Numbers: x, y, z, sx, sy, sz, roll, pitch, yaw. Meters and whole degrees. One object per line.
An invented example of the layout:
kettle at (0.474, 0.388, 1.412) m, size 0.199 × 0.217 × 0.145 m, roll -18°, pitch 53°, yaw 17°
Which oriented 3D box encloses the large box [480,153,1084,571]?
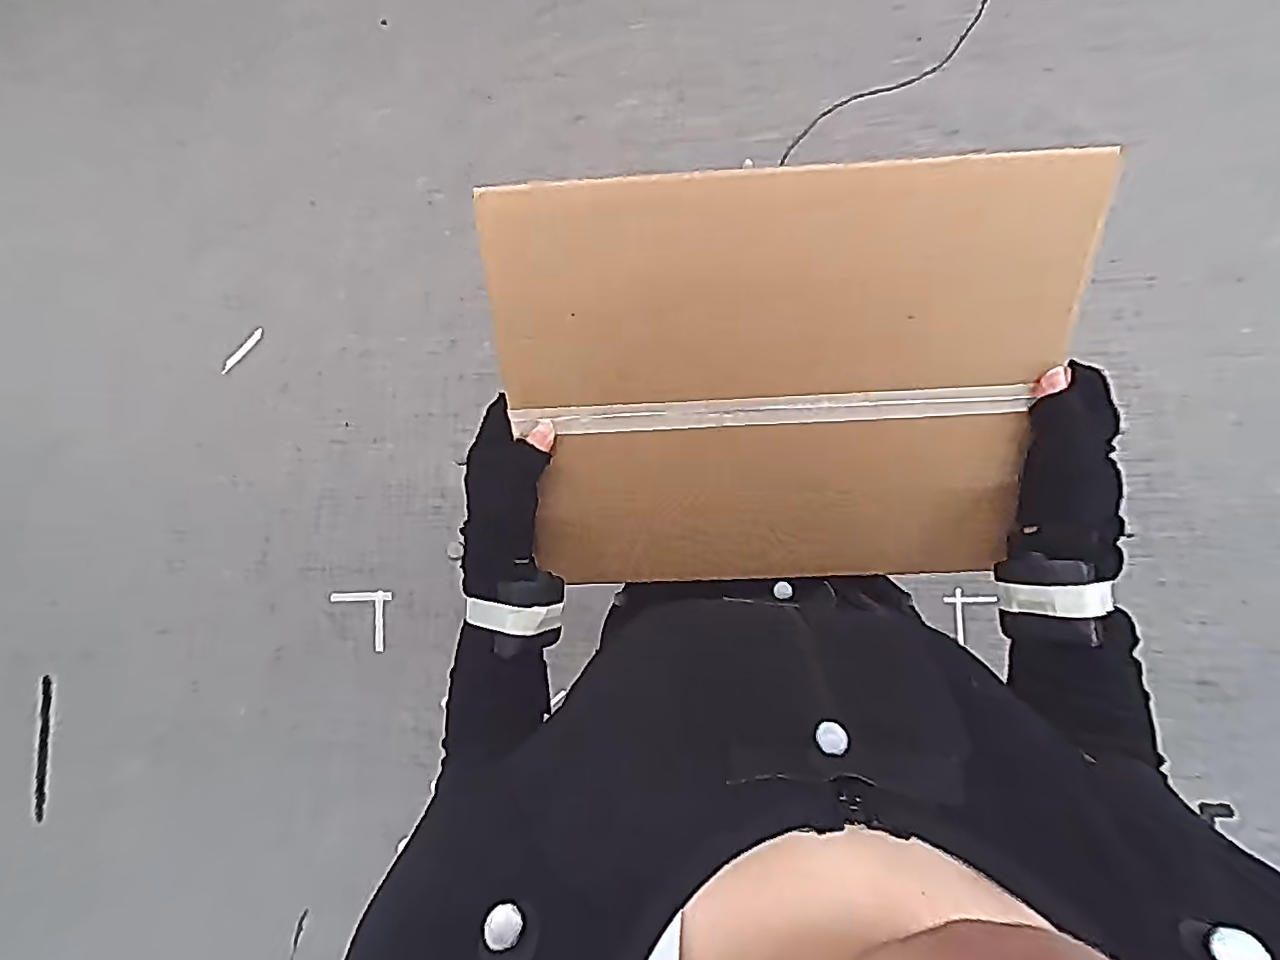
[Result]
large box at (0.102, -0.130, 0.554) m, size 0.408 × 0.320 × 0.320 m, roll -3°, pitch 117°, yaw 2°
